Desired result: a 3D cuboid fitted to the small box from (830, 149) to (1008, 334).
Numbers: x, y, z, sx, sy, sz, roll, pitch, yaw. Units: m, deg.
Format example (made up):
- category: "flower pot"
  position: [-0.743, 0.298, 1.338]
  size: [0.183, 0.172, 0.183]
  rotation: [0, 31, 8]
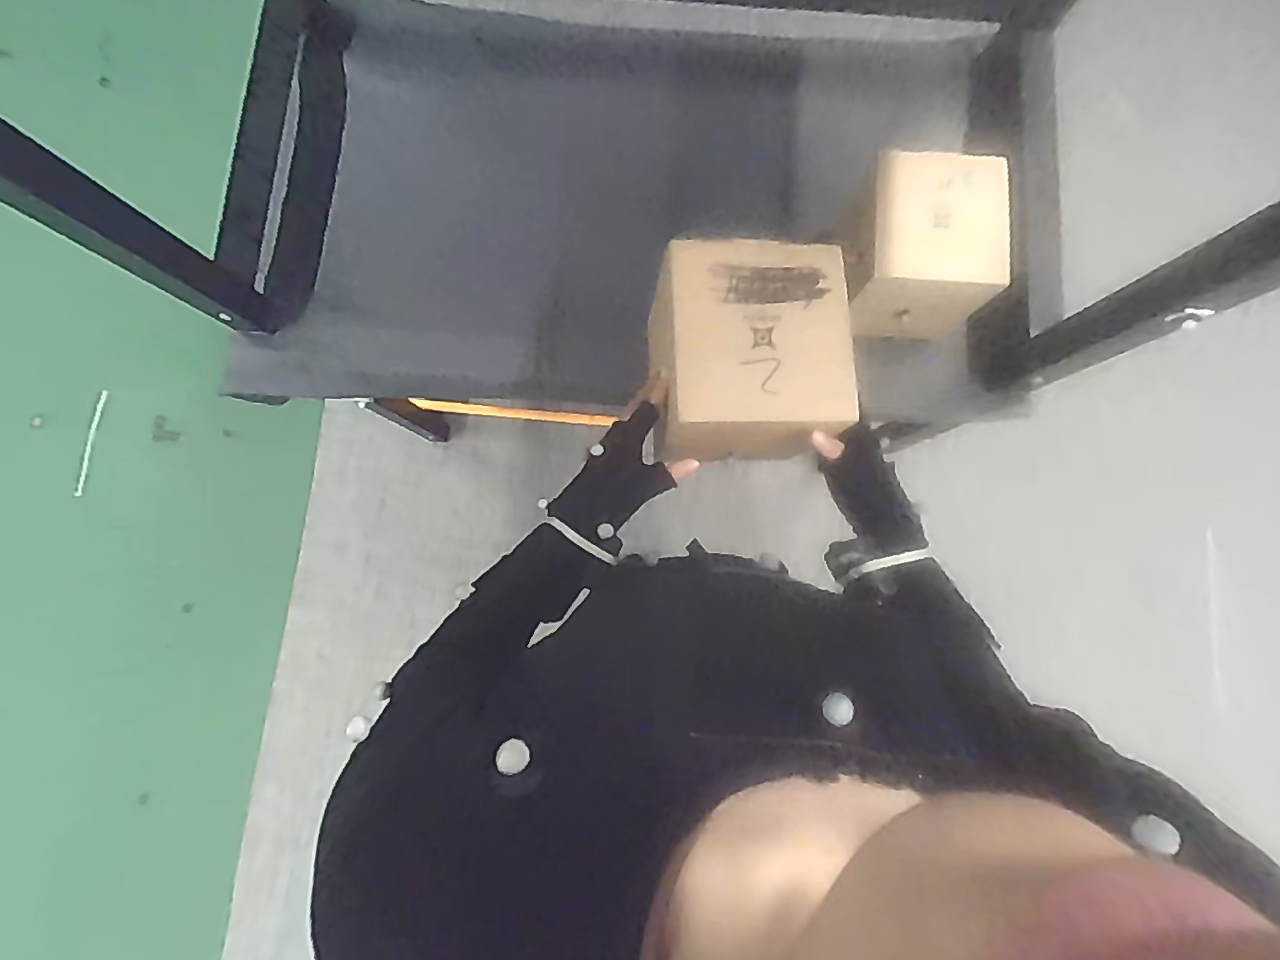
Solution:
- category: "small box"
  position: [0.373, -0.317, 0.750]
  size: [0.168, 0.176, 0.179]
  rotation: [4, 81, 1]
